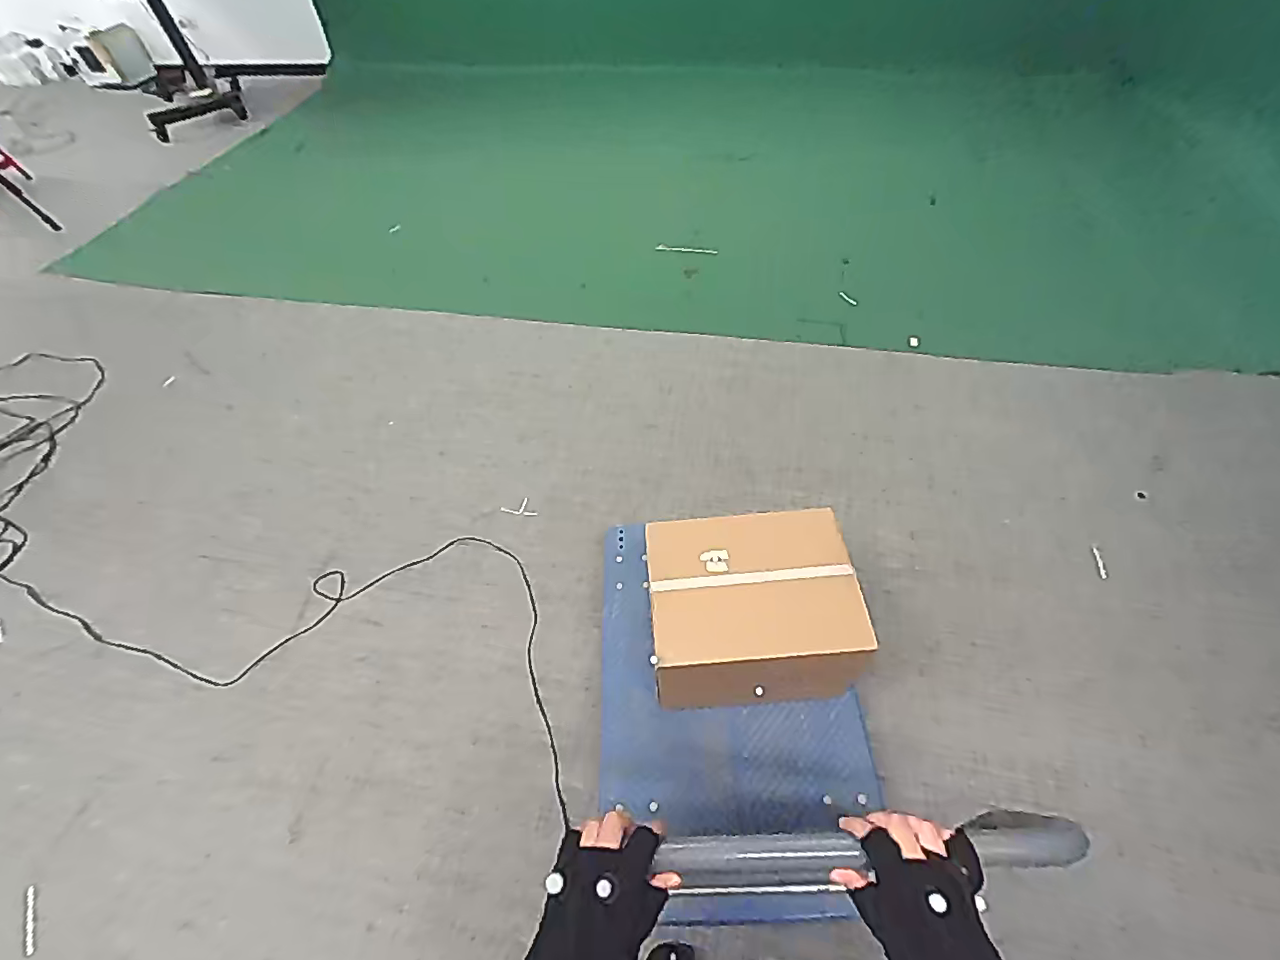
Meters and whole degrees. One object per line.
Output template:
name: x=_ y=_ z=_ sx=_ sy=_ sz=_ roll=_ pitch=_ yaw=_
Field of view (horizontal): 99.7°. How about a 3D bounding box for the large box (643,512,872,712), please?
large box: x=0.227 y=0.297 z=1.186 sx=0.408 sy=0.320 sz=0.320 roll=-6 pitch=52 yaw=2
